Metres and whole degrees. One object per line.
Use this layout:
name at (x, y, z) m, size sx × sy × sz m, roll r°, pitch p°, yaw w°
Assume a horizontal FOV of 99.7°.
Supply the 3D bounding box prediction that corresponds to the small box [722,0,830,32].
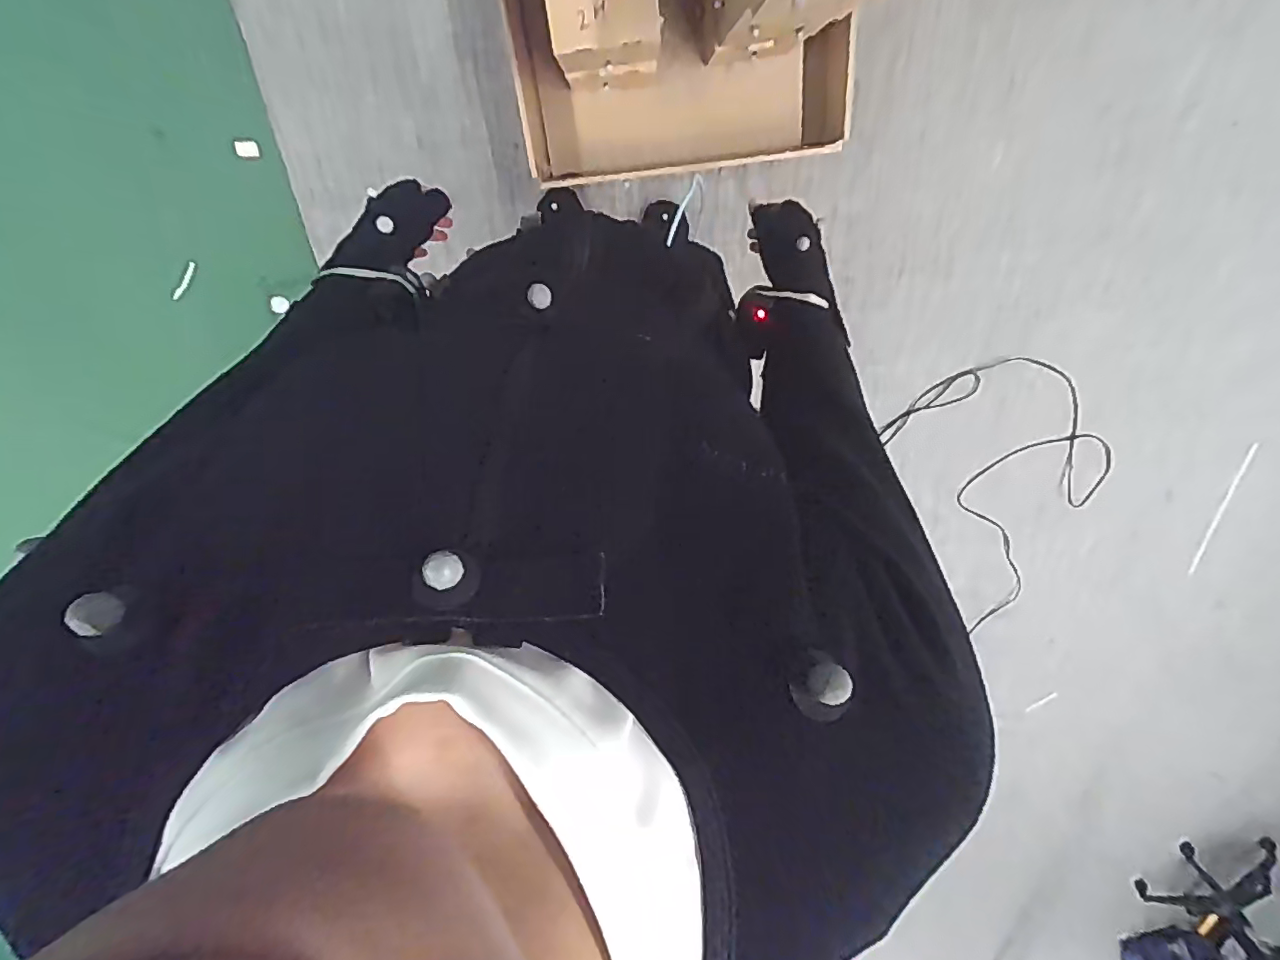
small box at (0.212, -0.790, 0.799) m, size 0.168 × 0.176 × 0.179 m, roll -5°, pitch 121°, yaw 4°

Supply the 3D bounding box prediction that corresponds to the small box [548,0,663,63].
small box at (-0.058, -0.769, 0.828) m, size 0.168 × 0.176 × 0.179 m, roll -6°, pitch 120°, yaw 2°

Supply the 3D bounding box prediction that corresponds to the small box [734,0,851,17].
small box at (0.210, -0.708, 0.677) m, size 0.168 × 0.176 × 0.179 m, roll -4°, pitch 121°, yaw 2°

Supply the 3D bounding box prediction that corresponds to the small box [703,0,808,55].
small box at (0.200, -0.880, 0.957) m, size 0.168 × 0.176 × 0.179 m, roll -8°, pitch 120°, yaw 6°
